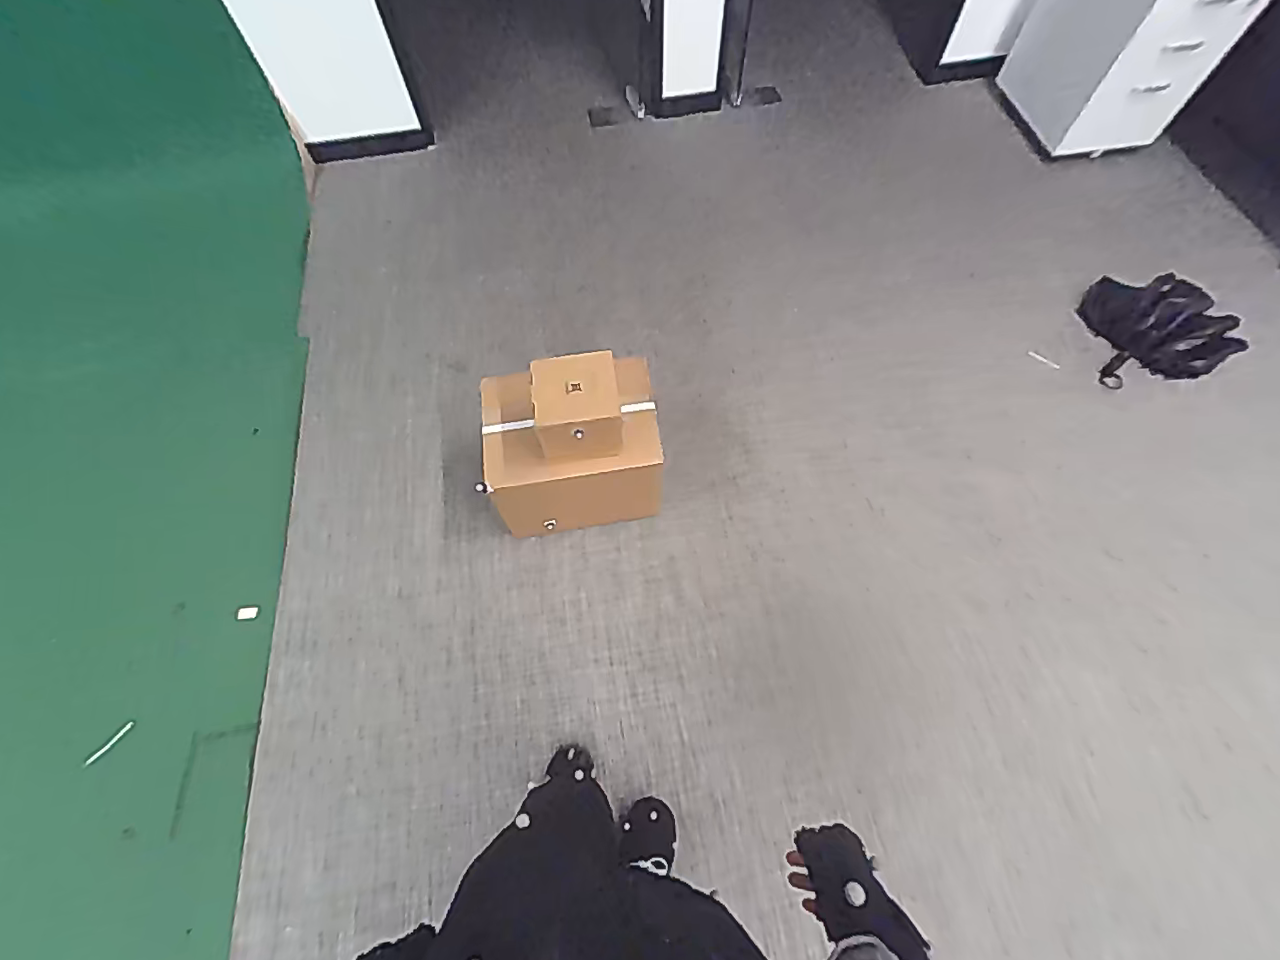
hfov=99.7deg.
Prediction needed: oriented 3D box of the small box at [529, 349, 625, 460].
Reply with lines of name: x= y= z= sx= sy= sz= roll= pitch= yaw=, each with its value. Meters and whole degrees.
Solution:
small box: x=-0.133 y=-0.157 z=1.177 sx=0.179 sy=0.176 sz=0.168 roll=-9 pitch=66 yaw=-4
